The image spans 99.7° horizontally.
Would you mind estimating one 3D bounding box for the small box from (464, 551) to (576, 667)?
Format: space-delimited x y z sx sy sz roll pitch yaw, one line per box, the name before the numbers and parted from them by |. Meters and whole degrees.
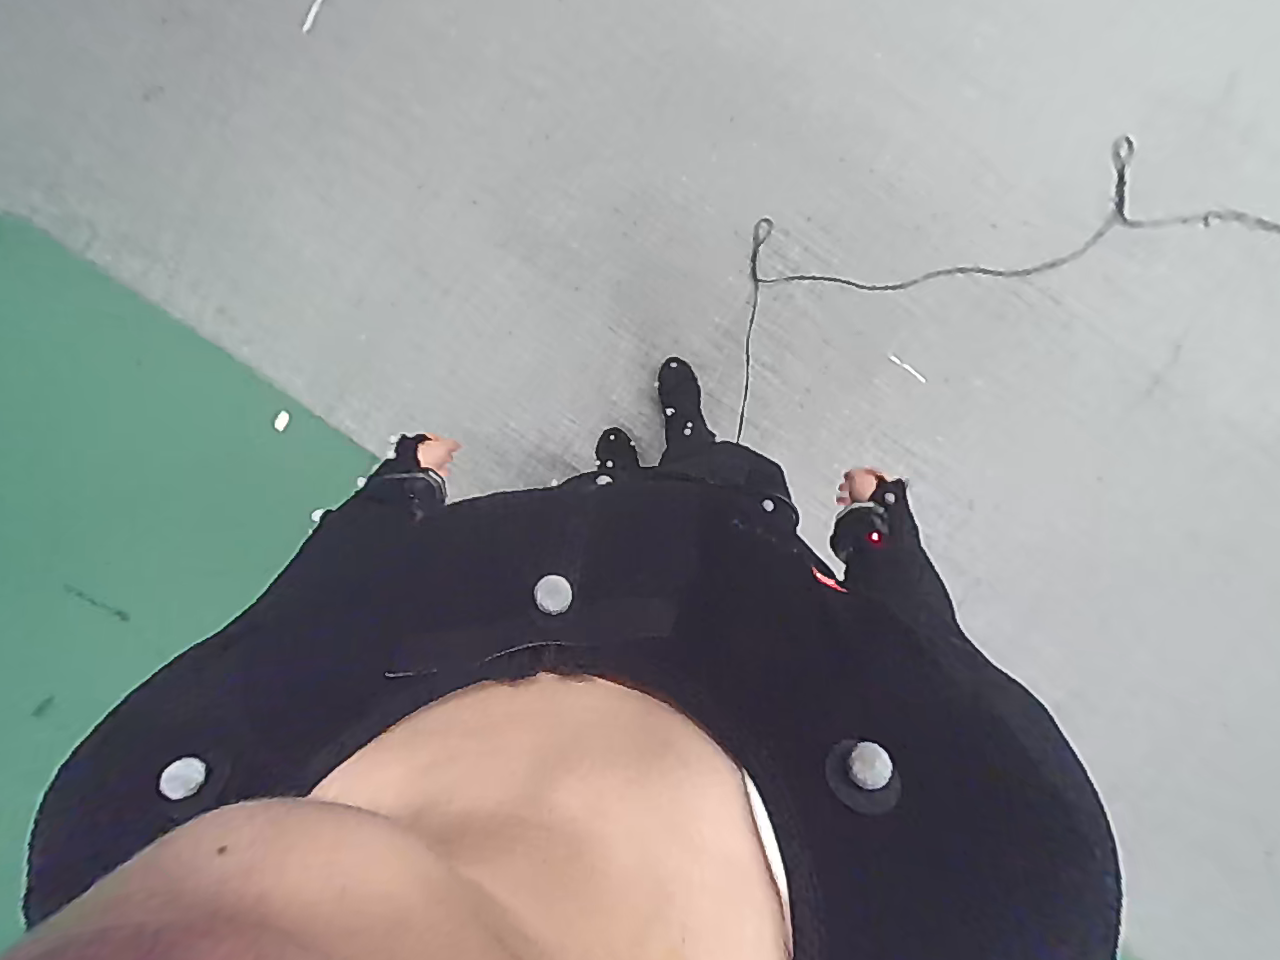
small box | -0.264 0.285 1.242 0.179 0.176 0.168 34 96 -3
